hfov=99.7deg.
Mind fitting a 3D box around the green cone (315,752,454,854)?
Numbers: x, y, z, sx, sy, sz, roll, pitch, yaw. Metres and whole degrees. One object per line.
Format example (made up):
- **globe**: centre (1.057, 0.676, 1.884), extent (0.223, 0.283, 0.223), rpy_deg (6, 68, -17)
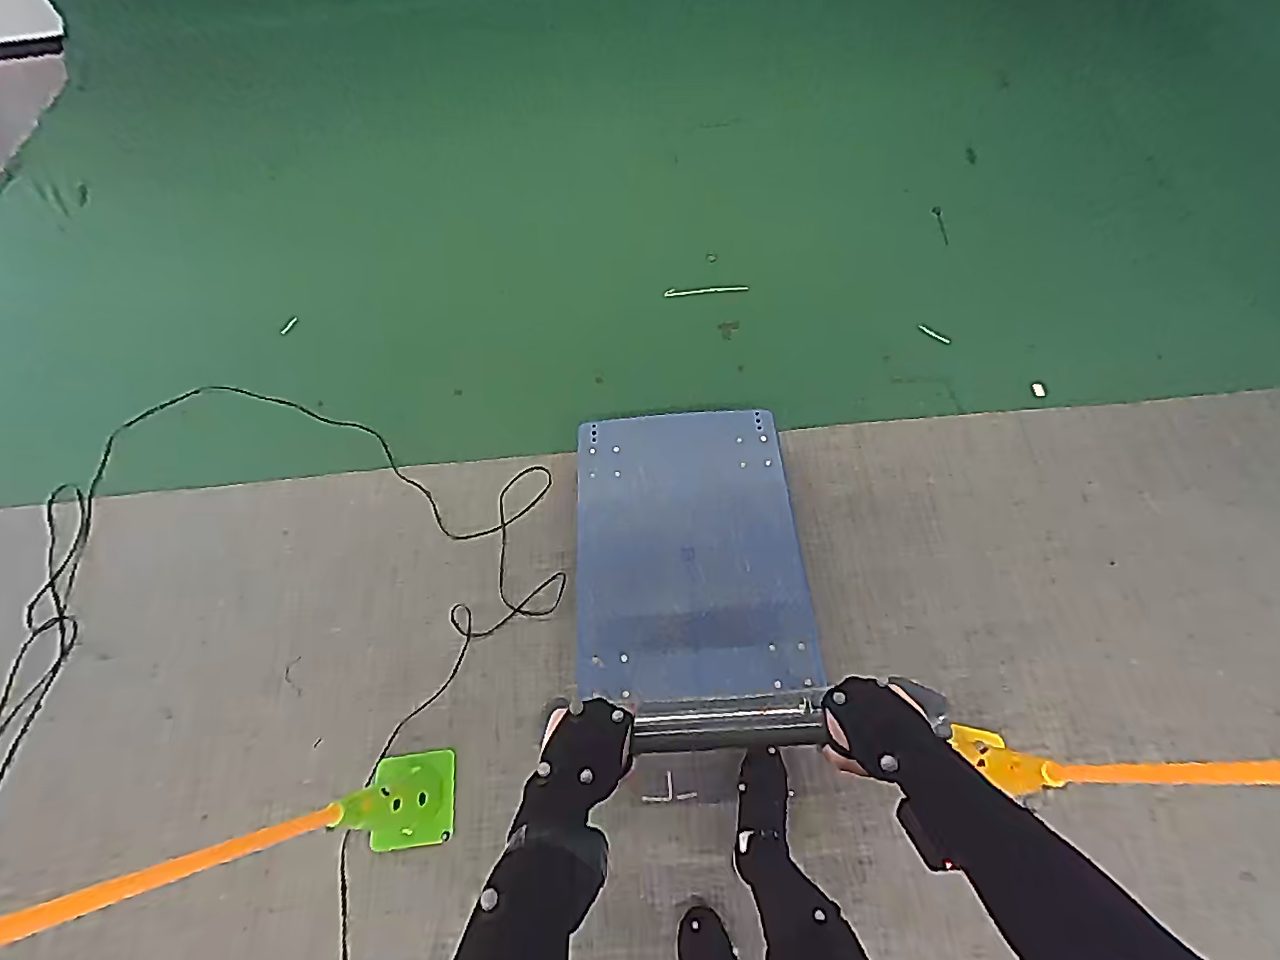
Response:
- **green cone**: centre (-0.572, 0.712, 1.176), extent (0.202, 0.368, 0.200), rpy_deg (-10, 62, 1)
